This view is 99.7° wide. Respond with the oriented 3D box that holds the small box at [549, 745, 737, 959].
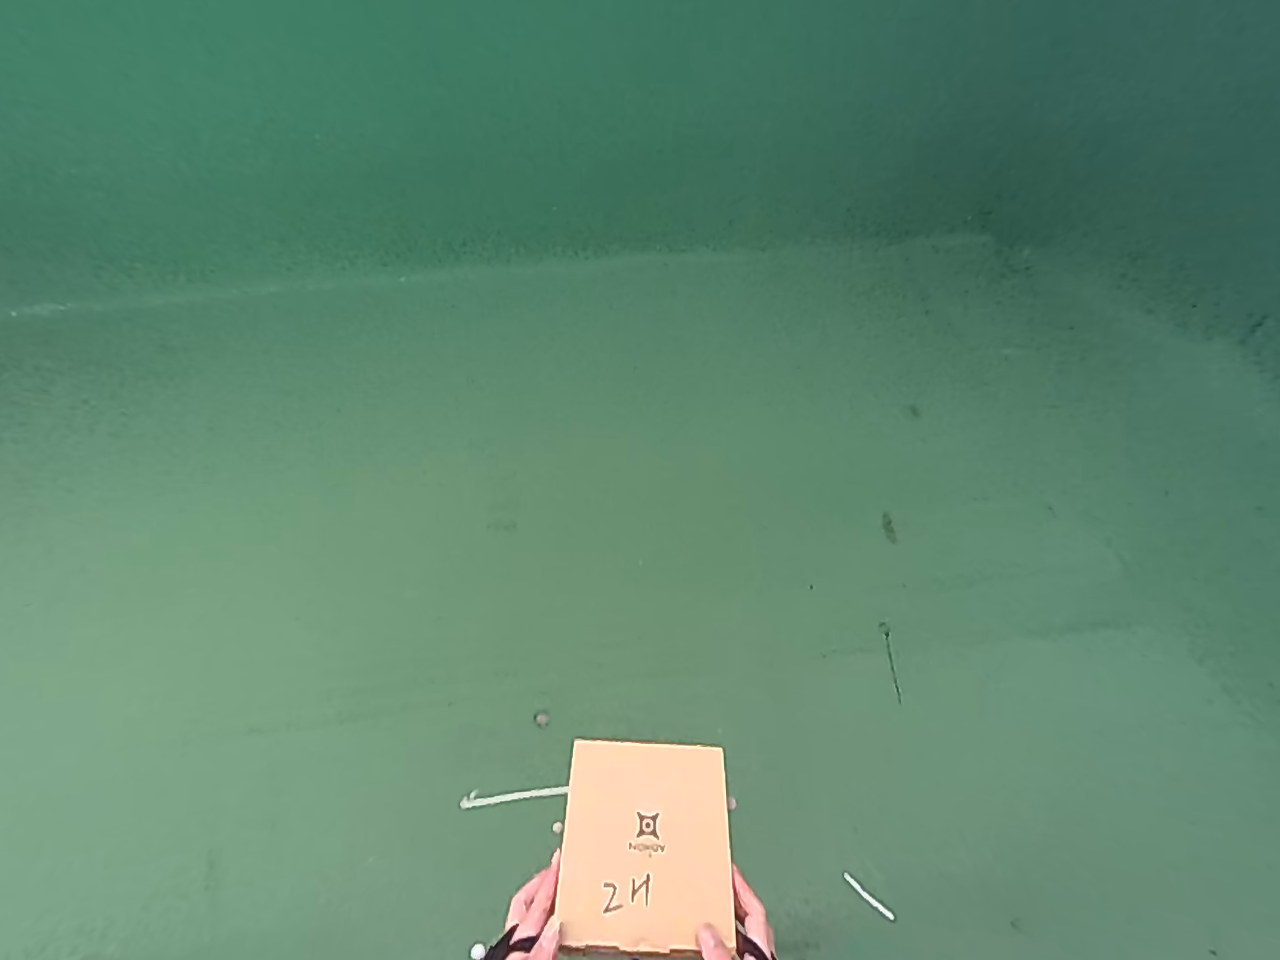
[{"bbox_3d":[0.002,0.408,0.577,0.168,0.176,0.179,3,46,0],"label":"small box"}]
